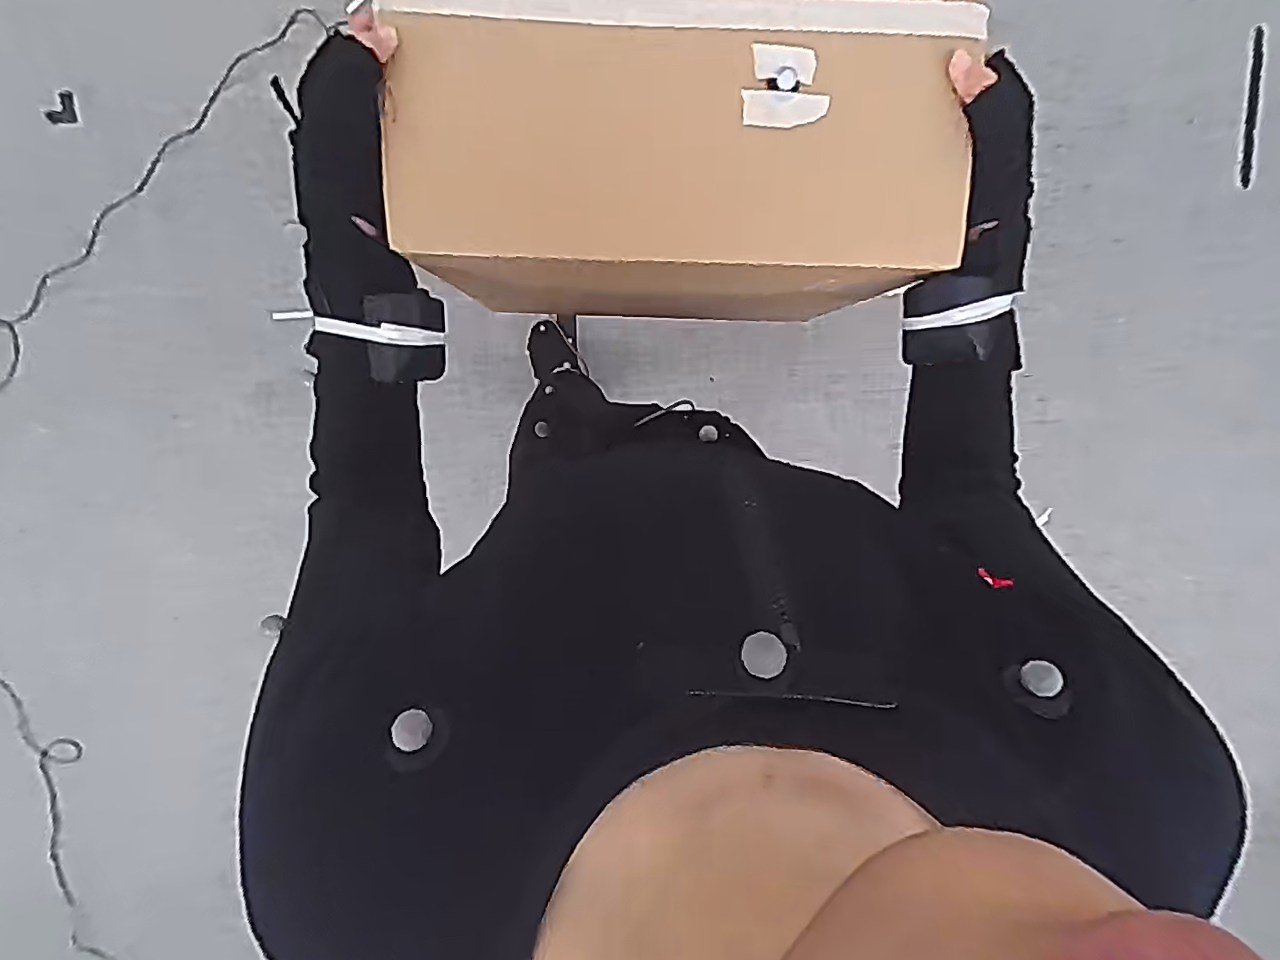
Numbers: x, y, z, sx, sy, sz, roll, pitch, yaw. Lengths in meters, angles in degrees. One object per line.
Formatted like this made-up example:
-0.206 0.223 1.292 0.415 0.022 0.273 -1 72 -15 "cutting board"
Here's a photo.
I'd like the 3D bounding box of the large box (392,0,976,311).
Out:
0.024 -0.341 0.512 0.408 0.320 0.320 1 101 -4 "large box"
